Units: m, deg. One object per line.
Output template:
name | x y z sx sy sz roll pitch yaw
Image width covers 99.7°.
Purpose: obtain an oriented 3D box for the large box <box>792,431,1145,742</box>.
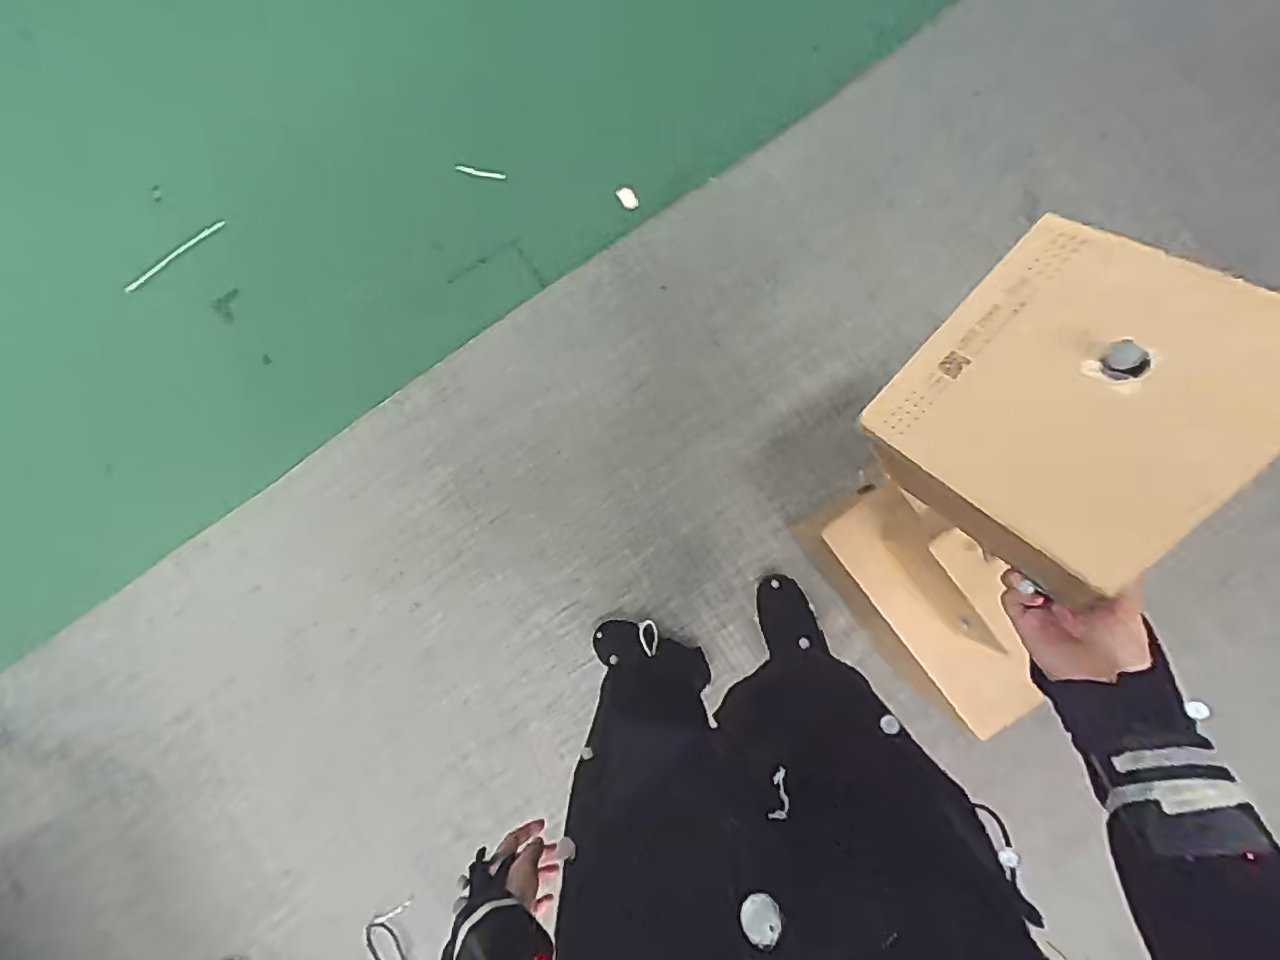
large box | 0.550 0.173 1.003 0.320 0.320 0.408 -37 83 3
